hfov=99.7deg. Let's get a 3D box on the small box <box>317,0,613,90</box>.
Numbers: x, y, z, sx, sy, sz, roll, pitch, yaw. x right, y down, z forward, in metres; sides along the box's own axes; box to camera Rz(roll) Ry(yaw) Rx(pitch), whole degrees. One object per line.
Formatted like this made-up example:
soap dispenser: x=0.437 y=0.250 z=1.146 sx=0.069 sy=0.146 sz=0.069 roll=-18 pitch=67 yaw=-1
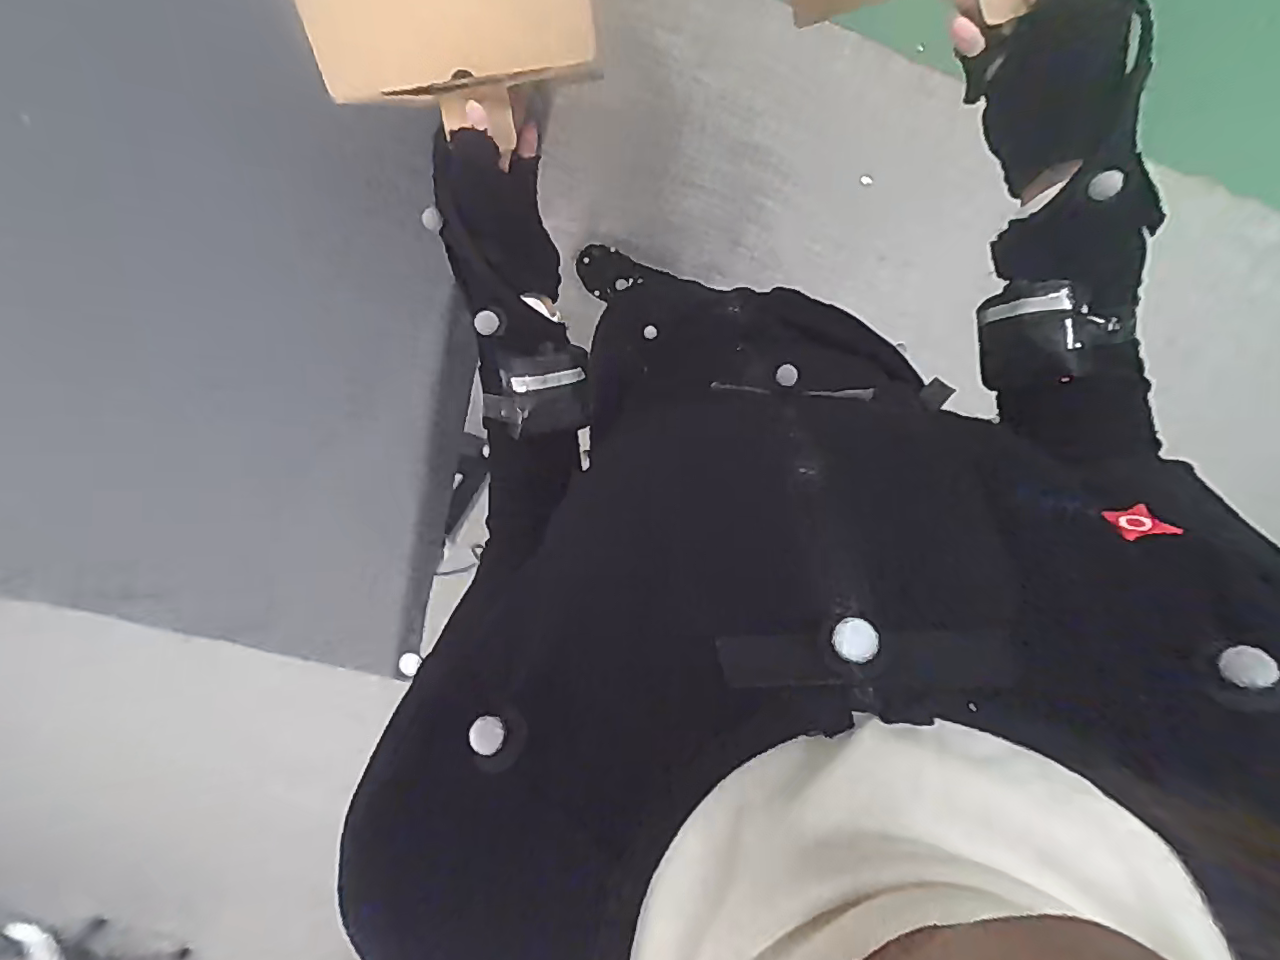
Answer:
small box: x=-0.108 y=-0.362 z=0.343 sx=0.168 sy=0.176 sz=0.179 roll=-7 pitch=124 yaw=1
